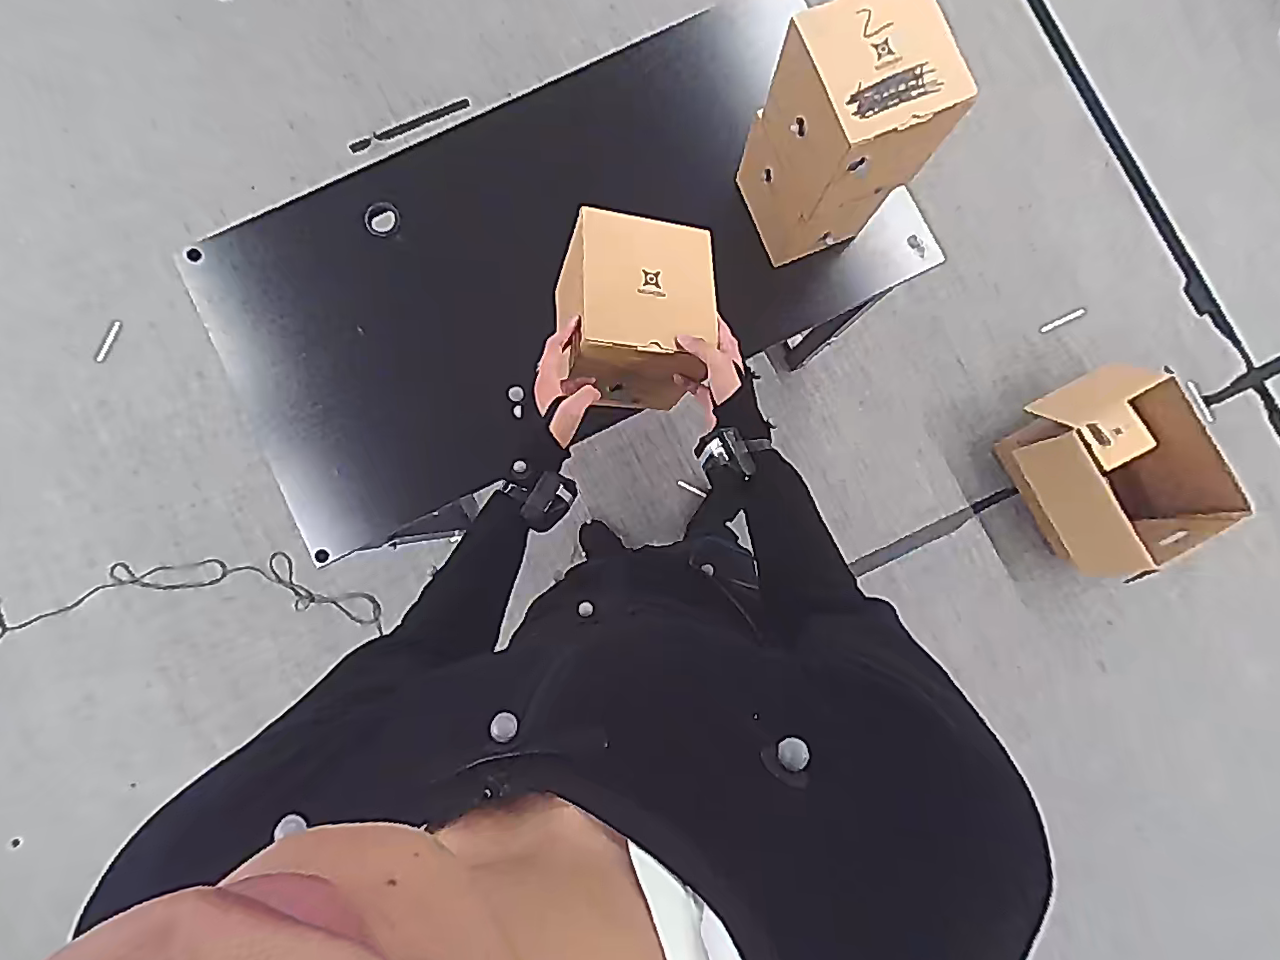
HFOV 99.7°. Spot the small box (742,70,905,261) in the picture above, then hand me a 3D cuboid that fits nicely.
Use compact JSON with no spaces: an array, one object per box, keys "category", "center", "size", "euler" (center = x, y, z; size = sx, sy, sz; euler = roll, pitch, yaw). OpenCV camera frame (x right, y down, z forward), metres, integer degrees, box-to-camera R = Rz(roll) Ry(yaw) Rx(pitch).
[{"category":"small box","center":[0.277,-0.487,0.862],"size":[0.168,0.176,0.179],"euler":[-22,87,-1]}]

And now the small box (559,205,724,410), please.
[{"category":"small box","center":[-0.009,-0.207,0.693],"size":[0.168,0.176,0.179],"euler":[2,76,-18]}]
